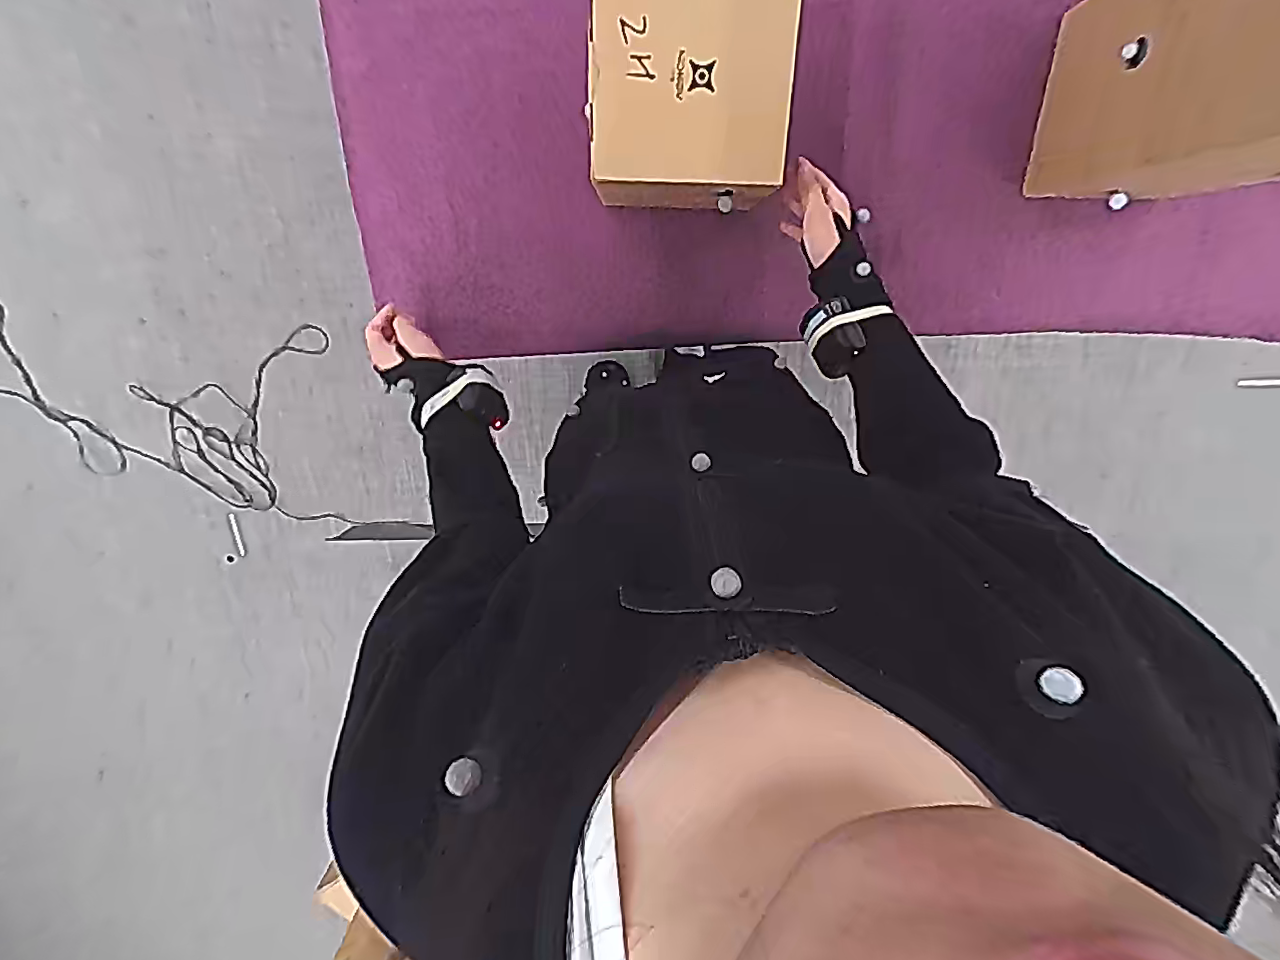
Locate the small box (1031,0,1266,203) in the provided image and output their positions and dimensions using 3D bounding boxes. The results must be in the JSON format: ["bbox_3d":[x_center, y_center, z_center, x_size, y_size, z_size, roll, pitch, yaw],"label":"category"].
[{"bbox_3d":[0.526,-0.380,0.522,0.168,0.176,0.179,2,110,1],"label":"small box"}]

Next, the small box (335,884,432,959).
[{"bbox_3d":[-0.766,1.379,1.634,0.168,0.176,0.179,-41,103,13],"label":"small box"}]

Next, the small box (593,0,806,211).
[{"bbox_3d":[0.048,-0.370,0.536,0.179,0.176,0.168,2,109,1],"label":"small box"}]
